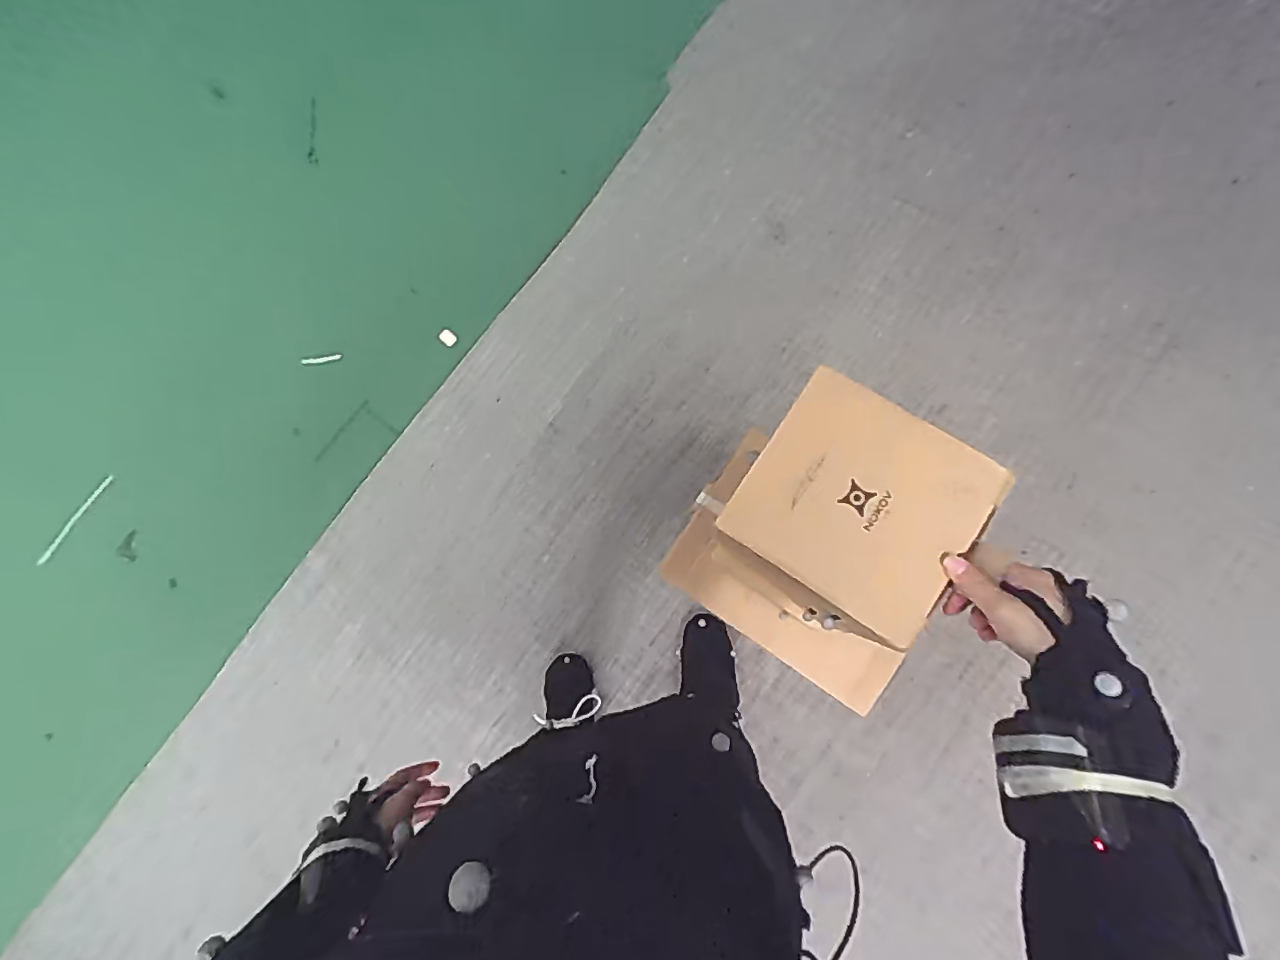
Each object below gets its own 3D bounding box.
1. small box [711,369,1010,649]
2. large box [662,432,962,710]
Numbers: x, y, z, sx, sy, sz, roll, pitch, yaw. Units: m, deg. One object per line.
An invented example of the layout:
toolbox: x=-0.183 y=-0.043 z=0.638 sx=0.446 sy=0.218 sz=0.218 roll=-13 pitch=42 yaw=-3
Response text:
small box: x=0.184 y=0.031 z=0.509 sx=0.179 sy=0.176 sz=0.168 roll=33 pitch=85 yaw=13
large box: x=0.300 y=0.164 z=1.051 sx=0.408 sy=0.320 sz=0.320 roll=33 pitch=87 yaw=12
